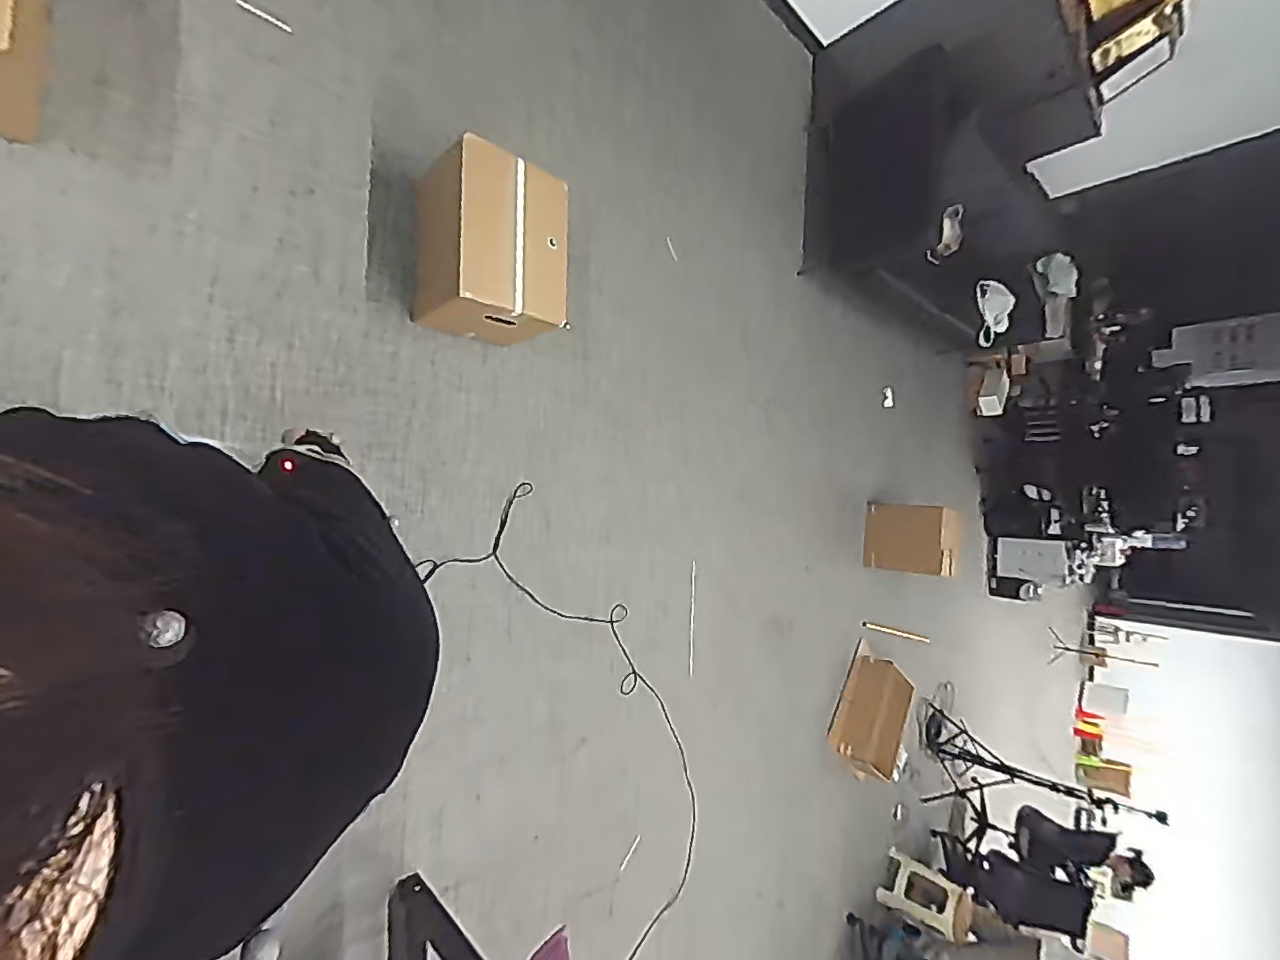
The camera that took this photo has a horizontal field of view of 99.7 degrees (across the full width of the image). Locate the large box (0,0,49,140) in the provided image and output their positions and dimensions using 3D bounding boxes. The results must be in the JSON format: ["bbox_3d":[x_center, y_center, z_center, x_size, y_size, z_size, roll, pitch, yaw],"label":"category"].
[{"bbox_3d":[-1.153,-0.842,0.826,0.320,0.320,0.408,3,87,-42],"label":"large box"}]
